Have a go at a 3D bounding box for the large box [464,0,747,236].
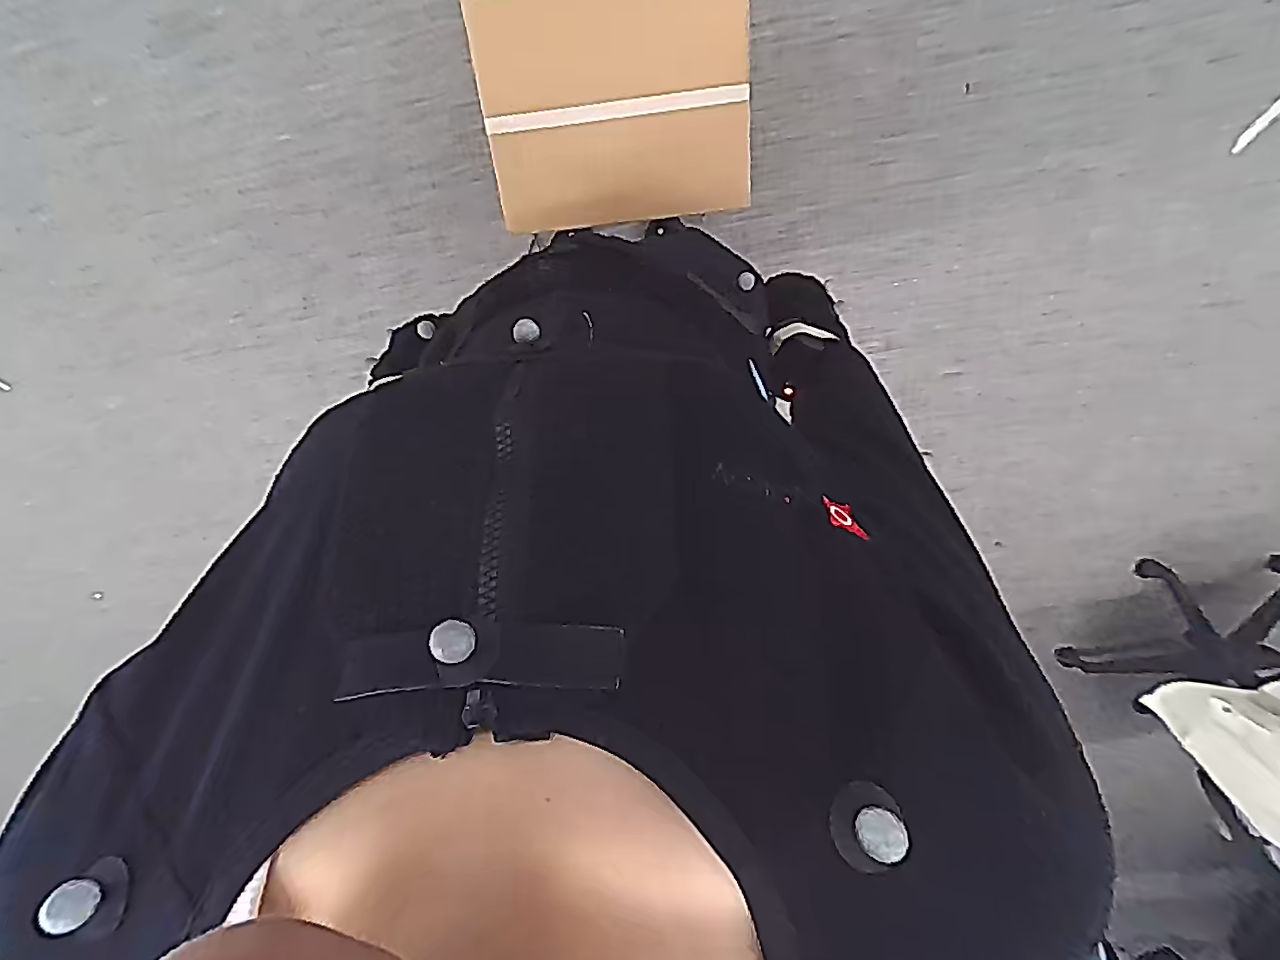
[{"bbox_3d":[-0.037,-0.635,0.955,0.408,0.320,0.320,-5,118,3],"label":"large box"}]
